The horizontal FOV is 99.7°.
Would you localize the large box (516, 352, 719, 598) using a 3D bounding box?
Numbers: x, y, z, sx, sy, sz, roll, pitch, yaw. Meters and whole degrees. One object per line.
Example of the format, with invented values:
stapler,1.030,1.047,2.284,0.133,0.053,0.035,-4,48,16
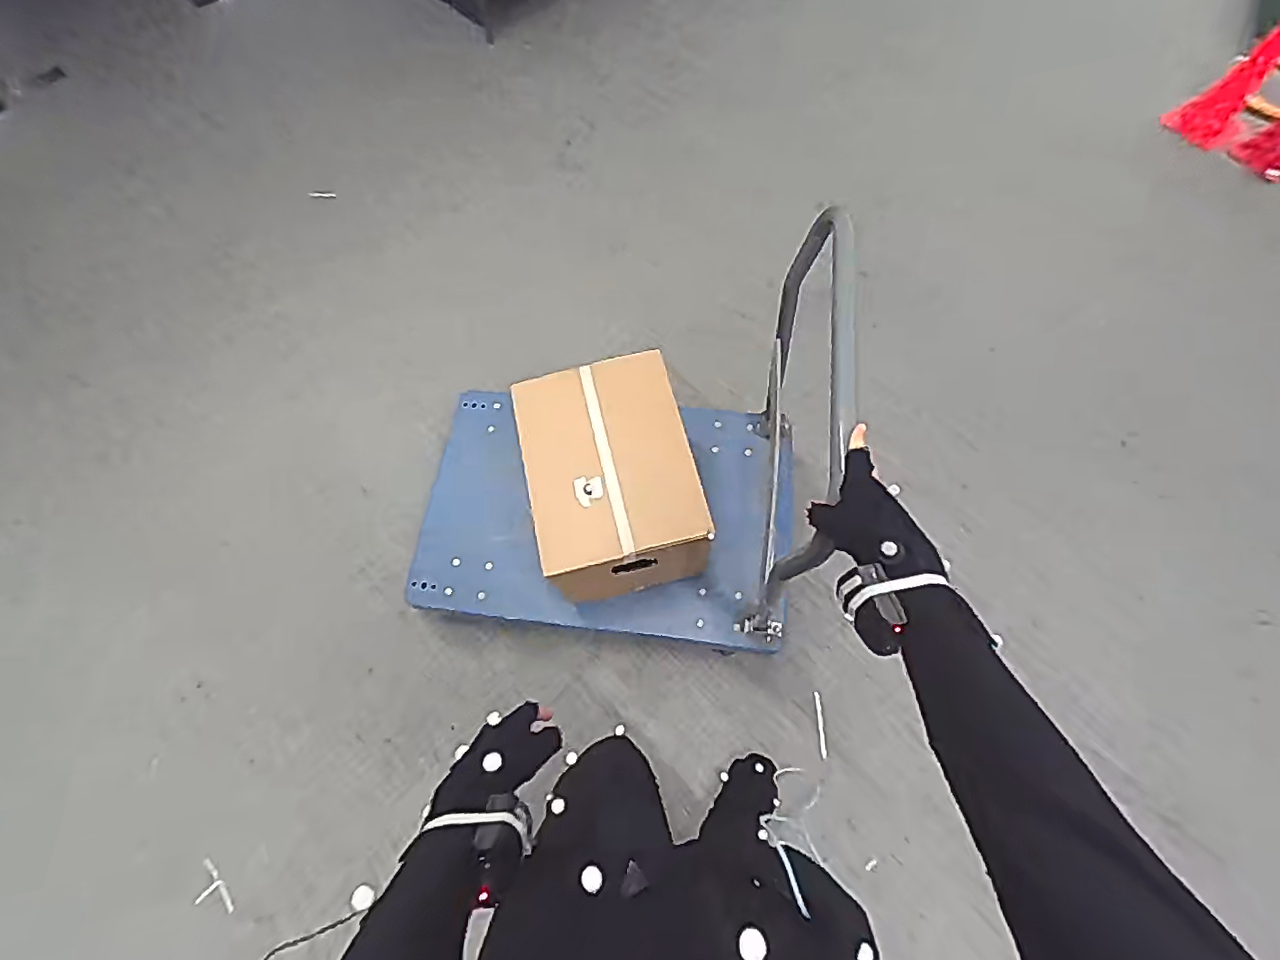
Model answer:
large box,-0.048,0.003,1.161,0.320,0.320,0.408,-14,69,-1
